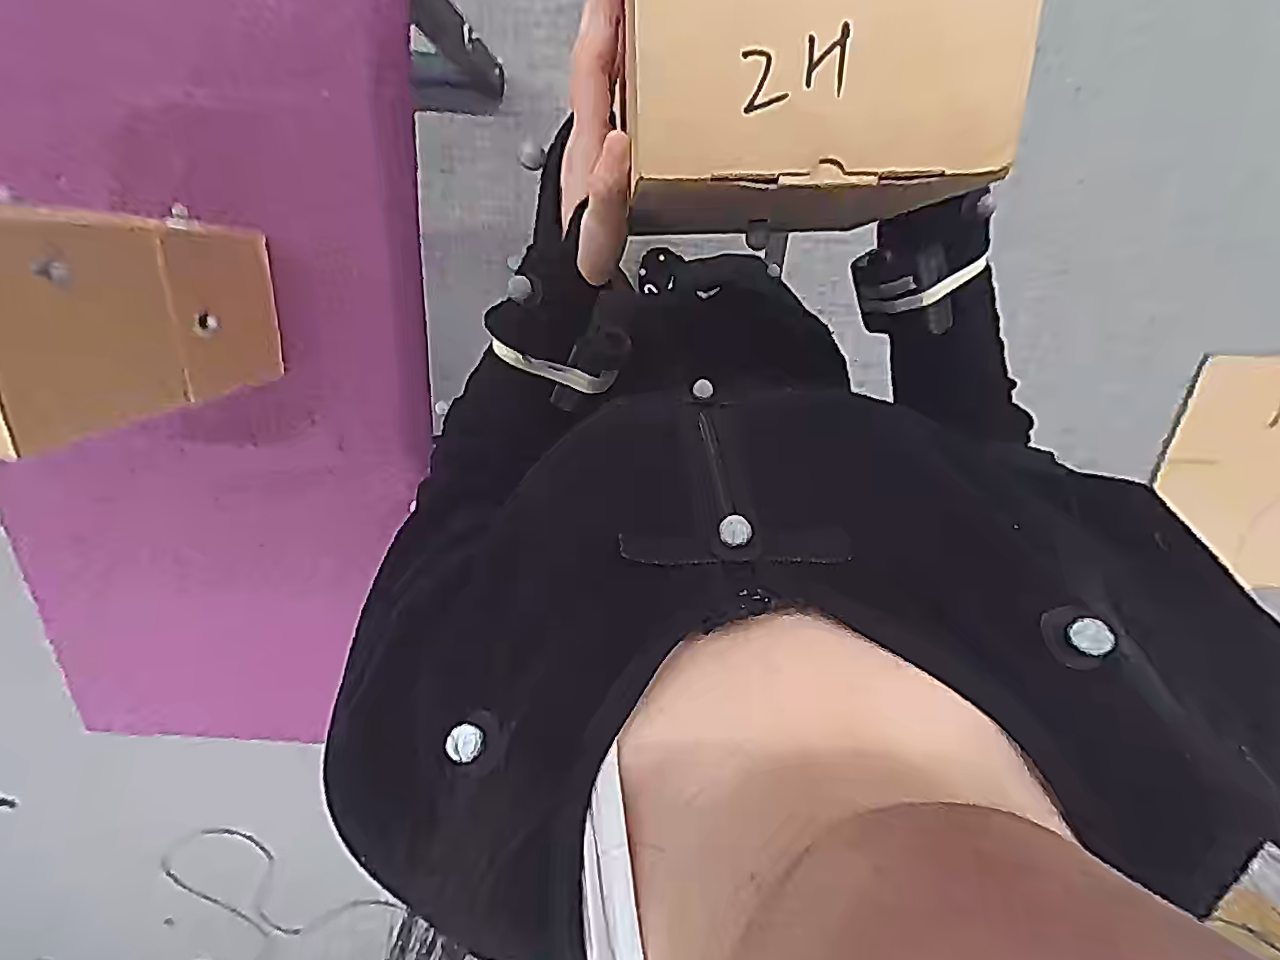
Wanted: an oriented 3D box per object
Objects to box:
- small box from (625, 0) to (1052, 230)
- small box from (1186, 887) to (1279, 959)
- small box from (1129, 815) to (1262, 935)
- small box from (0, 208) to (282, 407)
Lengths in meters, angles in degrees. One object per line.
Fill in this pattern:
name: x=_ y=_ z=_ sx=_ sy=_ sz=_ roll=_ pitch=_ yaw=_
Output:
small box: x=0.078 y=-0.239 z=0.281 sx=0.168 sy=0.176 sz=0.179 roll=-1 pitch=108 yaw=-3
small box: x=1.380 y=1.043 z=1.194 sx=0.168 sy=0.176 sz=0.179 roll=-35 pitch=108 yaw=14
small box: x=1.386 y=0.981 z=1.345 sx=0.168 sy=0.176 sz=0.179 roll=-35 pitch=108 yaw=14
small box: x=-0.537 y=-0.194 z=0.605 sx=0.168 sy=0.176 sz=0.179 roll=5 pitch=112 yaw=-2
